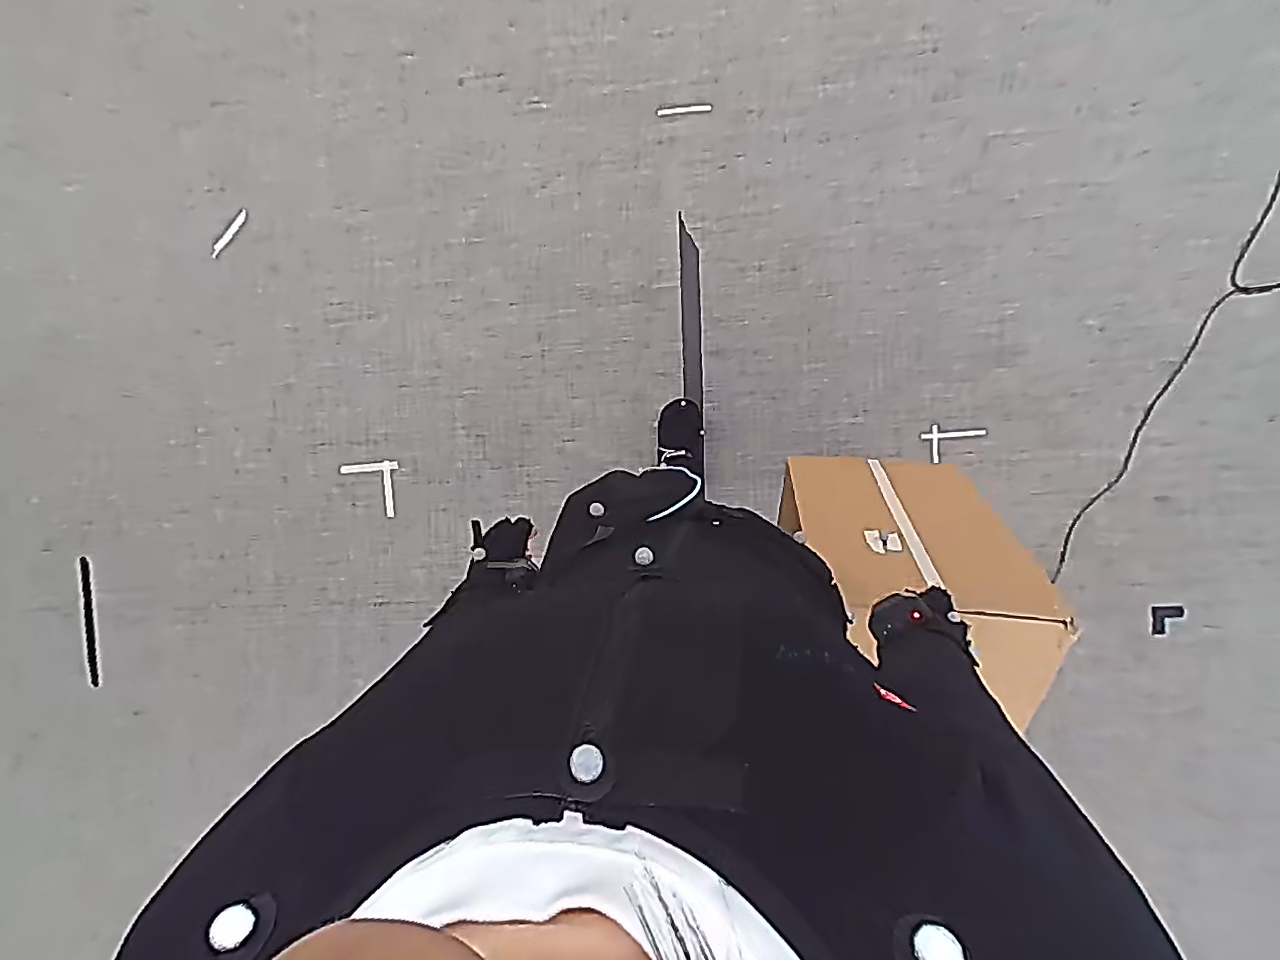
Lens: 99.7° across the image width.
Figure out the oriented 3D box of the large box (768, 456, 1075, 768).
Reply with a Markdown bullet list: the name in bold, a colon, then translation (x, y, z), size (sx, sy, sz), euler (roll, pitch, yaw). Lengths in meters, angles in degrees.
- **large box**: translation (0.406, 0.196, 0.920), size (0.320, 0.408, 0.320), euler (3, 122, 7)
